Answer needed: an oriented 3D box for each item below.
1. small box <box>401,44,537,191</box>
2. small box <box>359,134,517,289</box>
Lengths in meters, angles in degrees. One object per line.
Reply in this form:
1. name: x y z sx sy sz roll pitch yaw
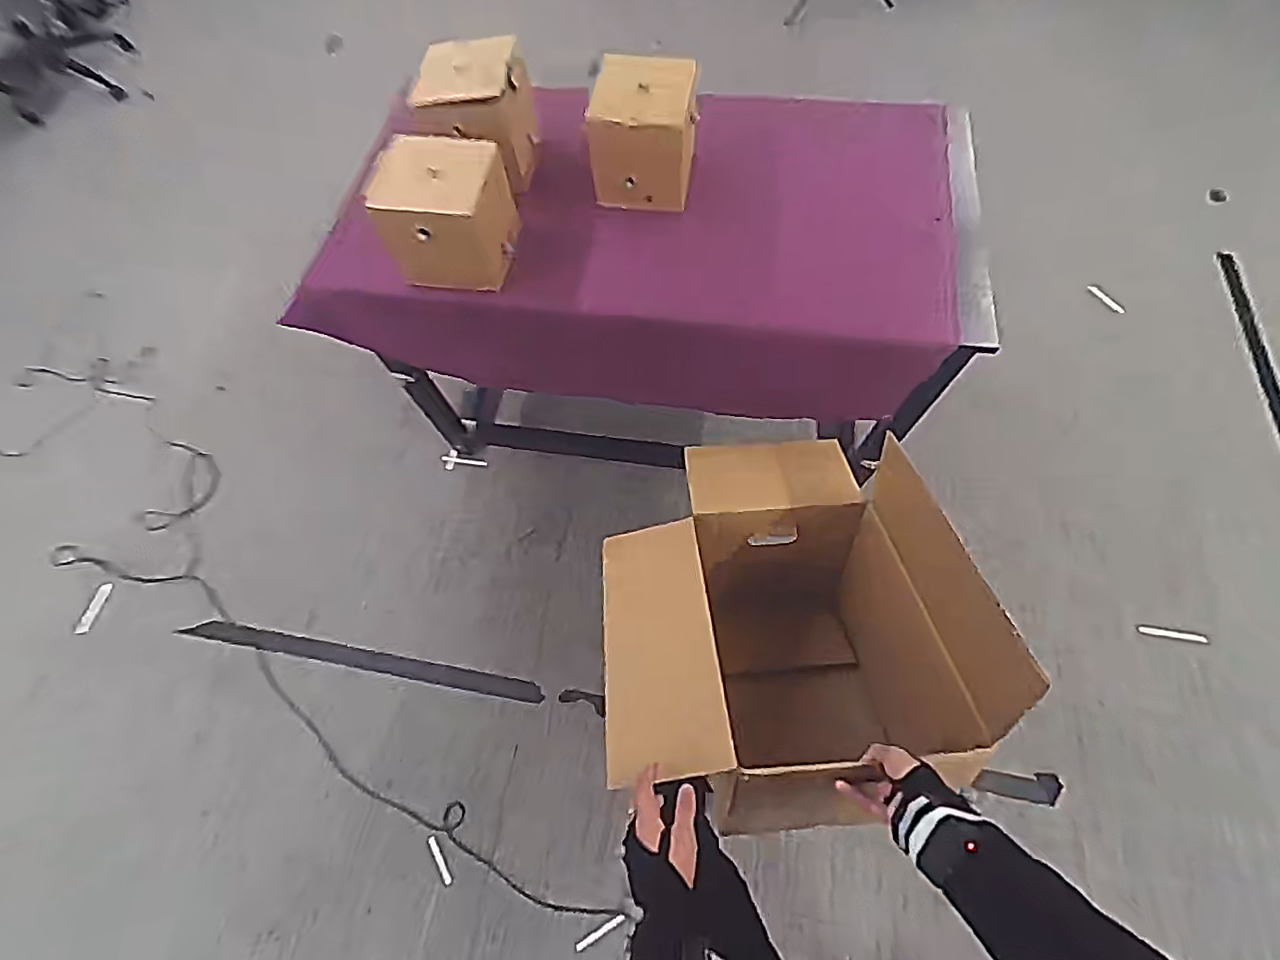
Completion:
1. small box: -0.305 -0.667 1.005 0.179 0.176 0.168 5 68 4
2. small box: -0.327 -0.445 0.912 0.179 0.176 0.168 7 68 5
